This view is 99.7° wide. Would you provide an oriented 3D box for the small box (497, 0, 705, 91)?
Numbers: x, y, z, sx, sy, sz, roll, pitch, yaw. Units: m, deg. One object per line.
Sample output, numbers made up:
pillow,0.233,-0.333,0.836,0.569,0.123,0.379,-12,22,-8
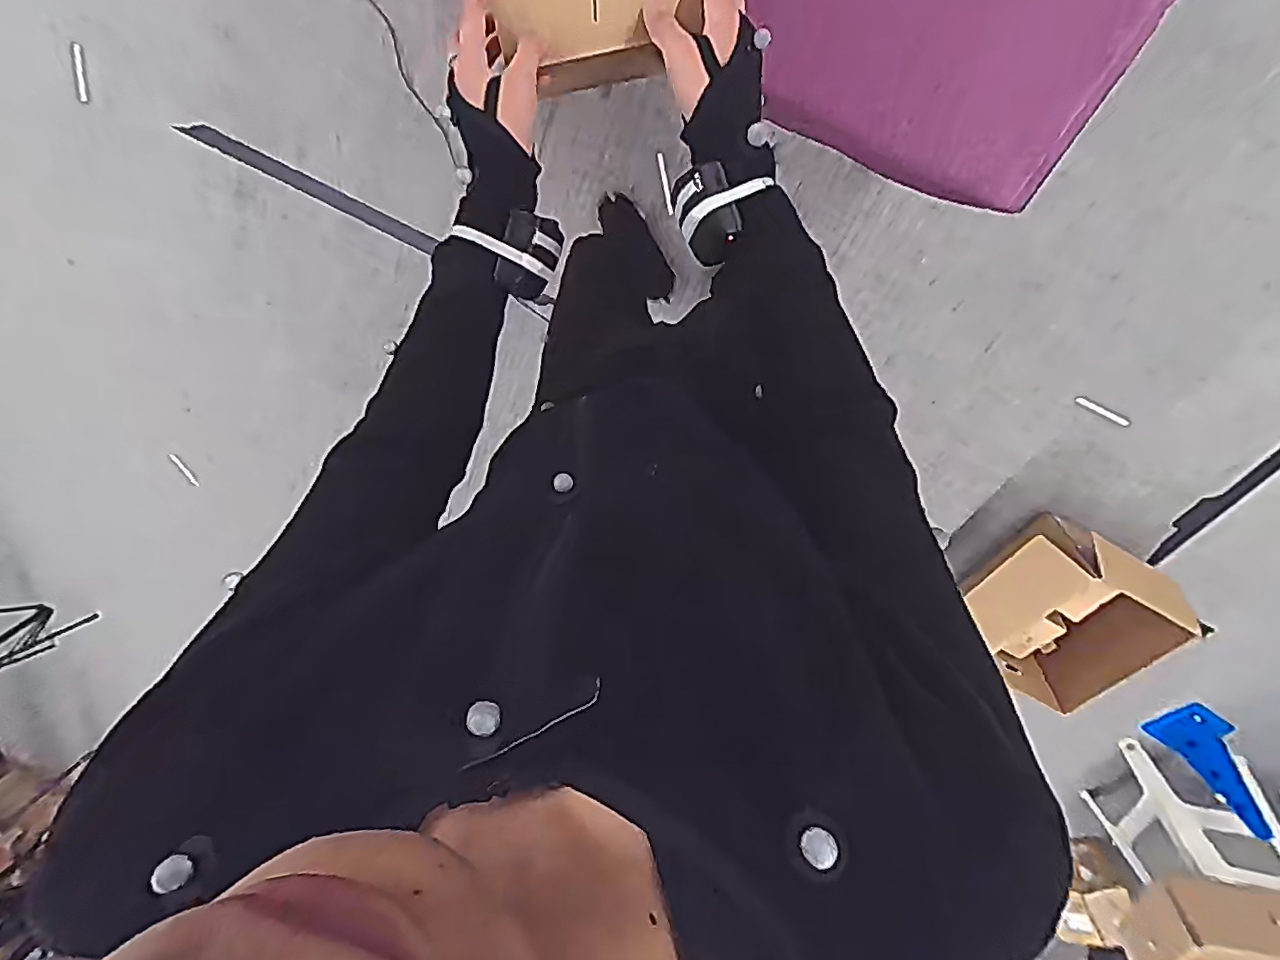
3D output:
small box,-0.042,-0.466,0.468,0.168,0.176,0.179,-8,119,3
